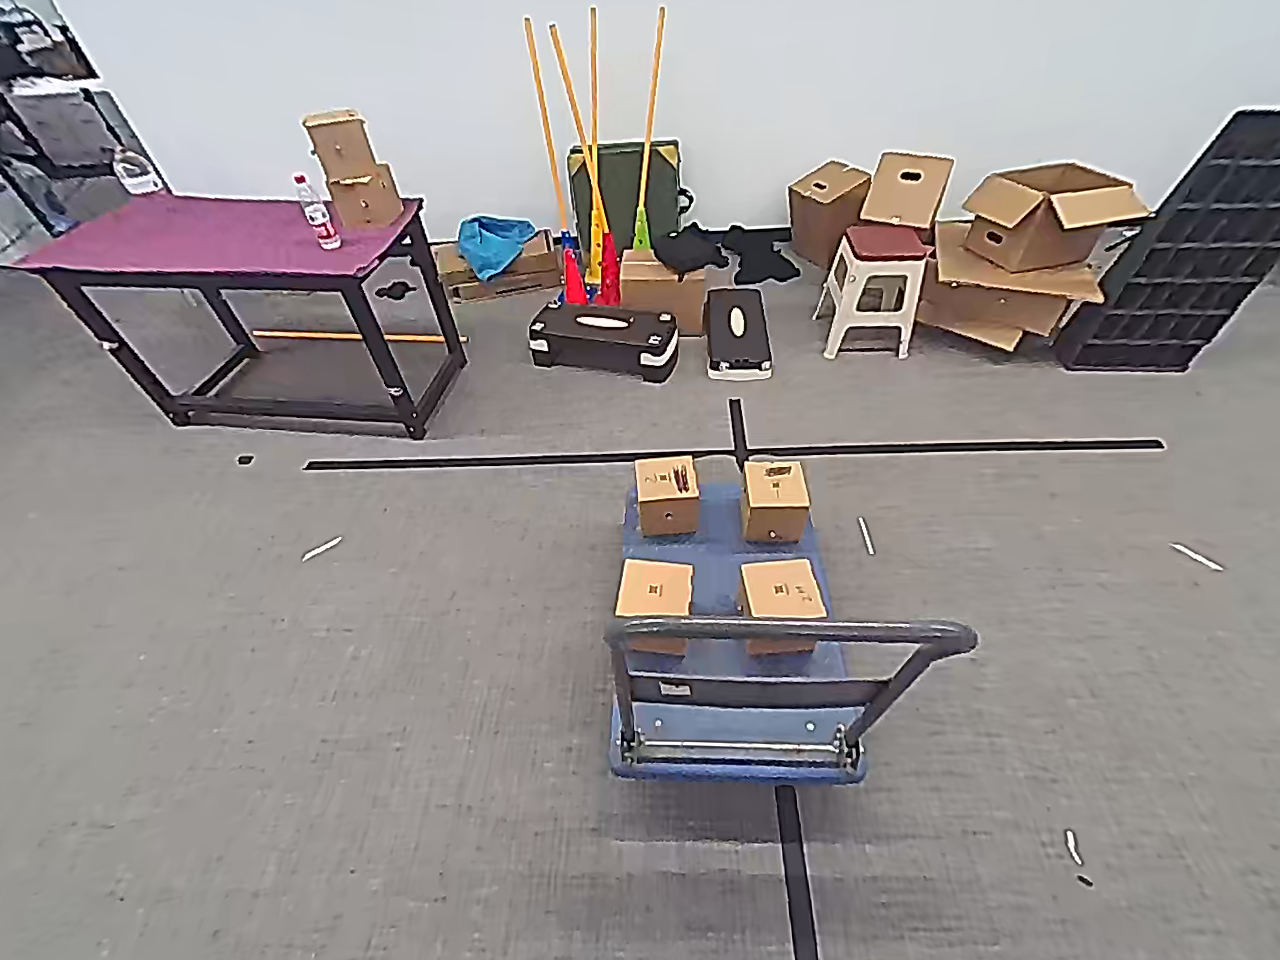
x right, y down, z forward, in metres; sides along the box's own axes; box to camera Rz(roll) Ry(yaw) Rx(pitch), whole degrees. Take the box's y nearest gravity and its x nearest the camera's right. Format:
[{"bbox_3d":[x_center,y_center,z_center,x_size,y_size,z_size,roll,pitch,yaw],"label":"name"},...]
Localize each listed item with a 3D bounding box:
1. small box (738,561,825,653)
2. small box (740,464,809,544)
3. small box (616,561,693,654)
[{"bbox_3d":[0.348,0.326,1.370,0.179,0.176,0.168,-4,47,0],"label":"small box"},{"bbox_3d":[0.392,0.070,1.608,0.168,0.176,0.179,-1,48,3],"label":"small box"},{"bbox_3d":[0.041,0.330,1.386,0.179,0.176,0.168,5,47,6],"label":"small box"}]
